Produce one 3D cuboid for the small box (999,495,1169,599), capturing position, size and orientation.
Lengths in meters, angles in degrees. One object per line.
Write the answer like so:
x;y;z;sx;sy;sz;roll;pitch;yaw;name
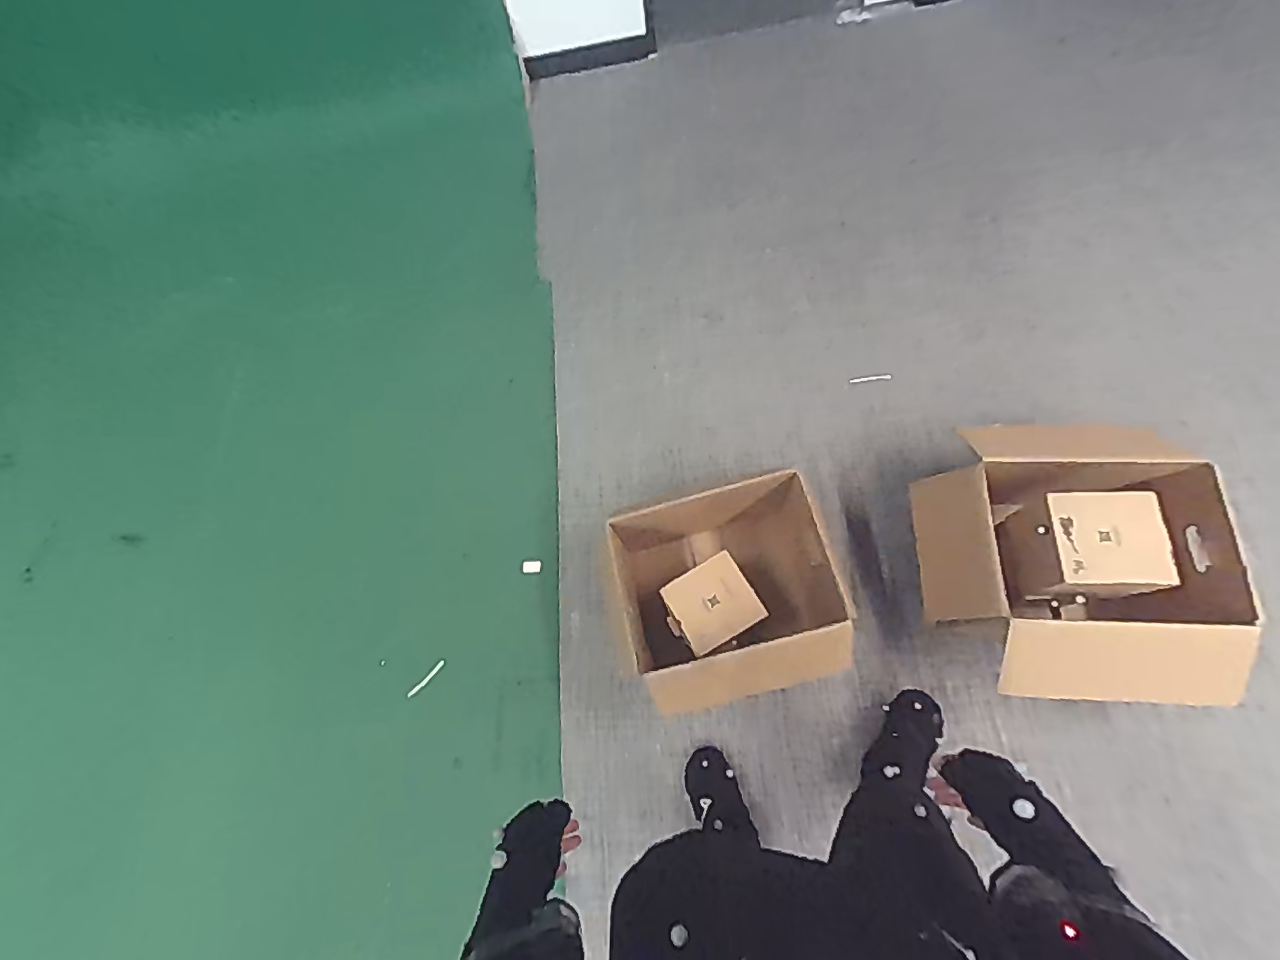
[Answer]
0.829;0.131;1.030;0.179;0.176;0.168;-1;69;8;small box
